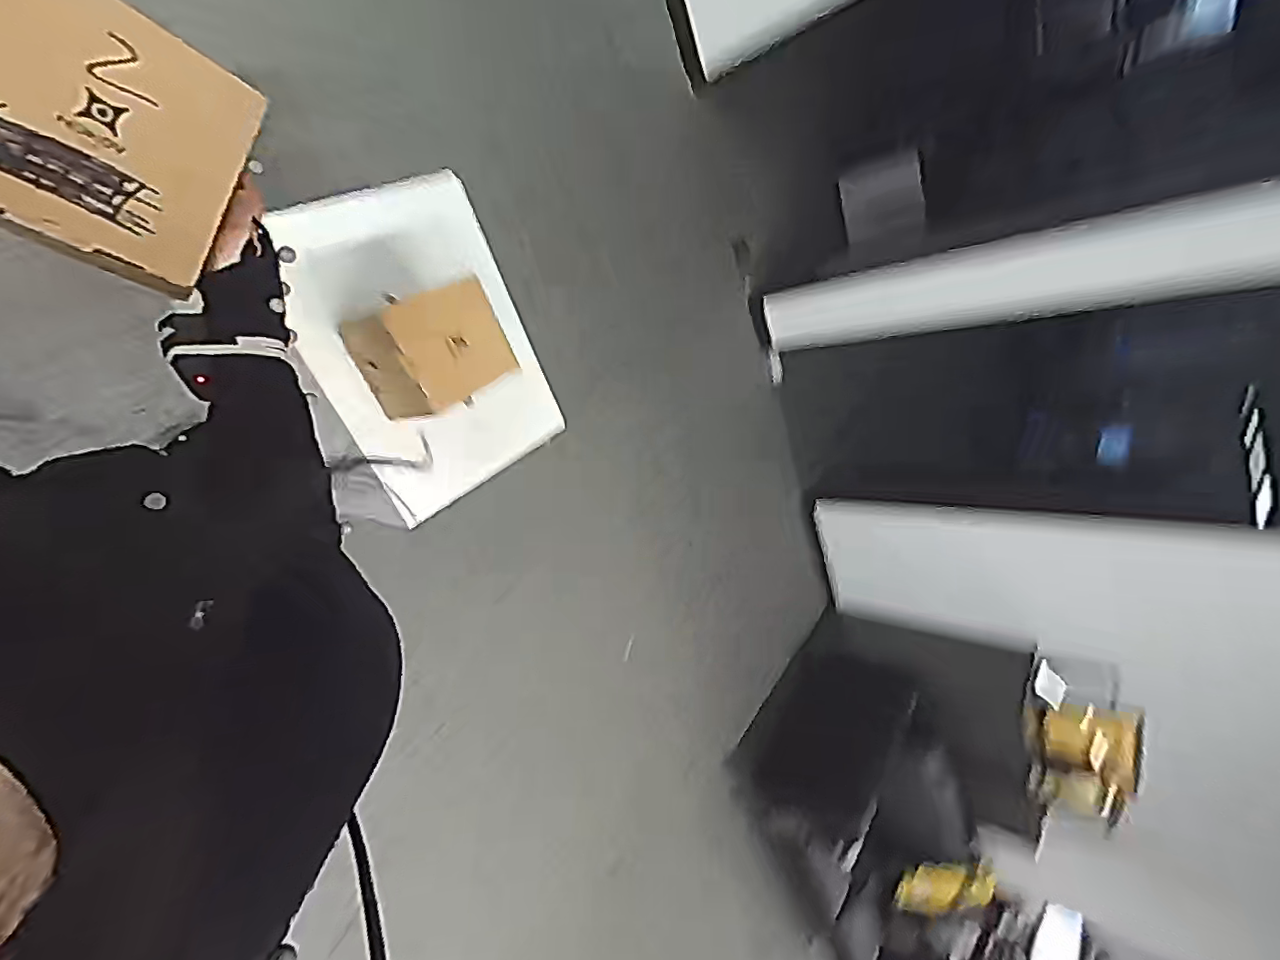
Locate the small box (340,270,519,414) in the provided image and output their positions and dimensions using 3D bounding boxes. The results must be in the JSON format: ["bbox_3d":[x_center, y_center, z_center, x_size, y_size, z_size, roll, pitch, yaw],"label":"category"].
[{"bbox_3d":[-0.333,-0.216,0.863,0.179,0.176,0.168,-41,122,-37],"label":"small box"}]
